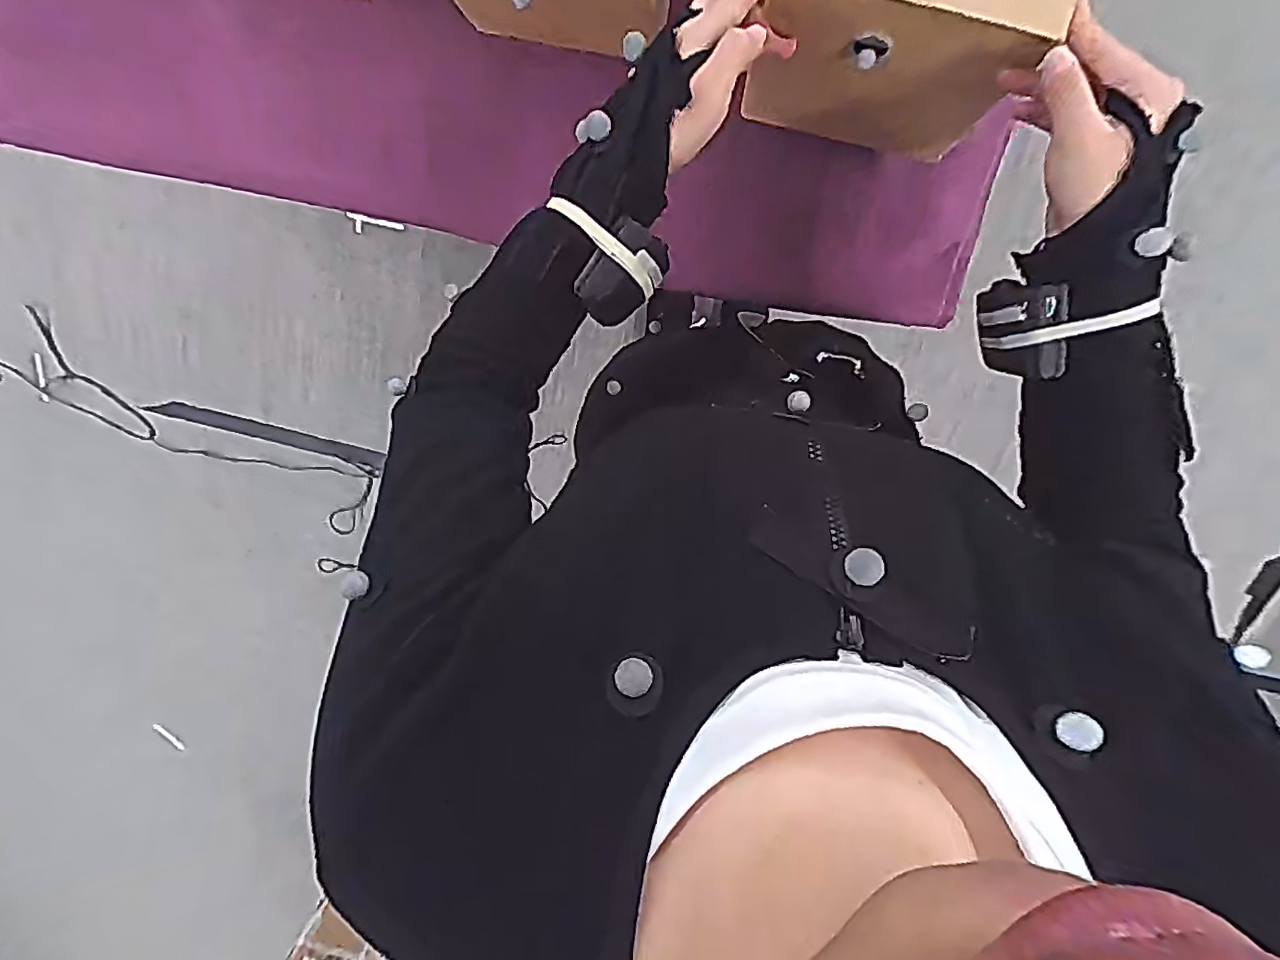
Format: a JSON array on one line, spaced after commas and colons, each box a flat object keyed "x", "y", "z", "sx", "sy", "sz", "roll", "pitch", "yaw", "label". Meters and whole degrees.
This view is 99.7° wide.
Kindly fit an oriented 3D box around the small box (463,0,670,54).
[{"x": -0.055, "y": -0.446, "z": 0.395, "sx": 0.179, "sy": 0.176, "sz": 0.168, "roll": 11, "pitch": 112, "yaw": 1, "label": "small box"}]
